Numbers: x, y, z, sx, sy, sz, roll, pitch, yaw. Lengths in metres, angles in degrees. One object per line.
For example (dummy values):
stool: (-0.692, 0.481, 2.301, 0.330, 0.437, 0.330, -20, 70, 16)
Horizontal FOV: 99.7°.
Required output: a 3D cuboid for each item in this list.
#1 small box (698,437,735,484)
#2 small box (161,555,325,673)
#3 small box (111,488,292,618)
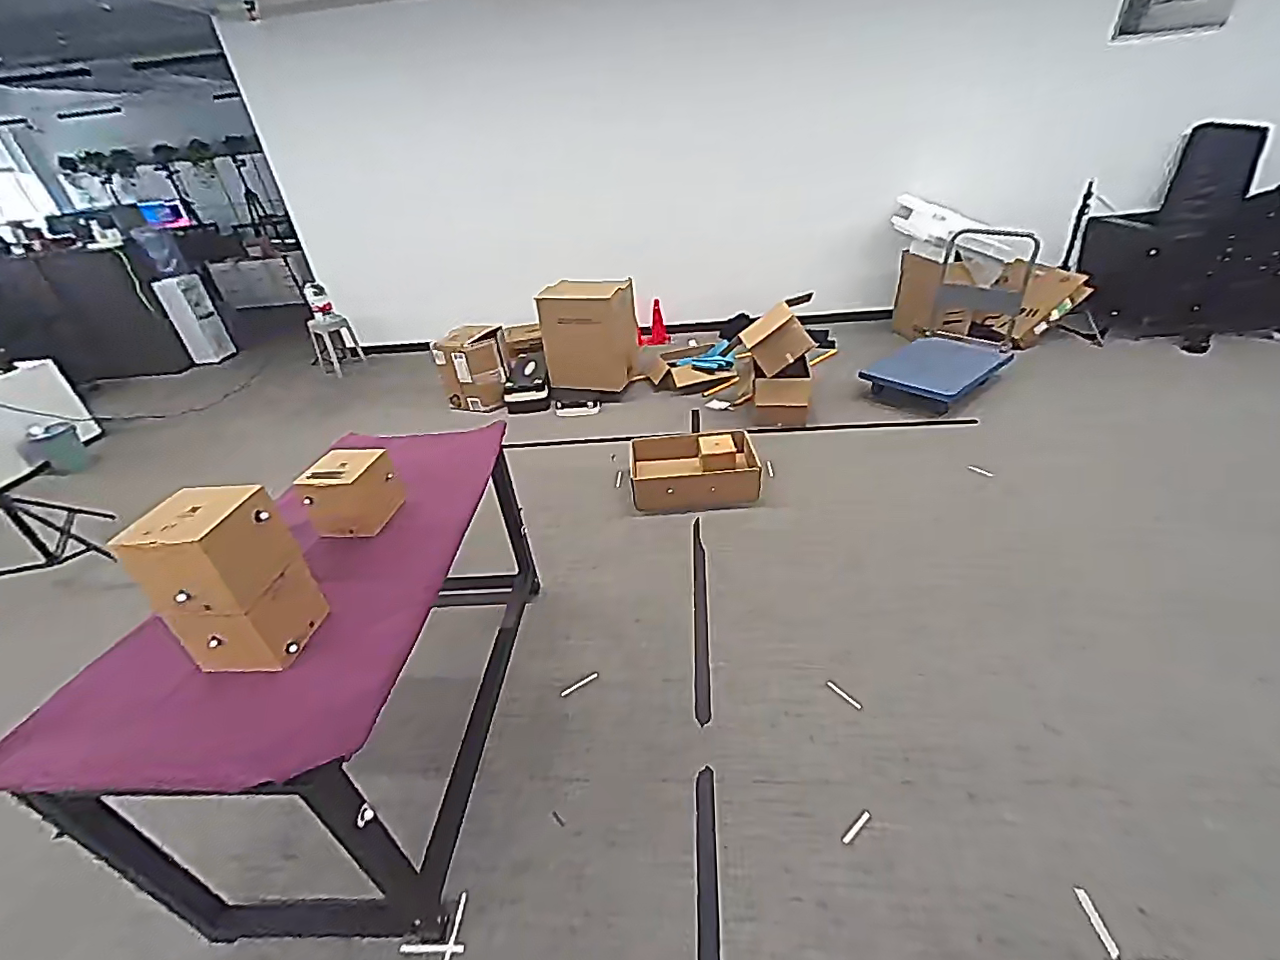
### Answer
small box: (0.383, -0.099, 2.733, 0.168, 0.176, 0.179, -6, 33, 2)
small box: (-0.778, 0.270, 1.086, 0.179, 0.176, 0.168, -3, 32, 5)
small box: (-0.783, 0.132, 0.995, 0.168, 0.176, 0.179, -3, 32, 5)
